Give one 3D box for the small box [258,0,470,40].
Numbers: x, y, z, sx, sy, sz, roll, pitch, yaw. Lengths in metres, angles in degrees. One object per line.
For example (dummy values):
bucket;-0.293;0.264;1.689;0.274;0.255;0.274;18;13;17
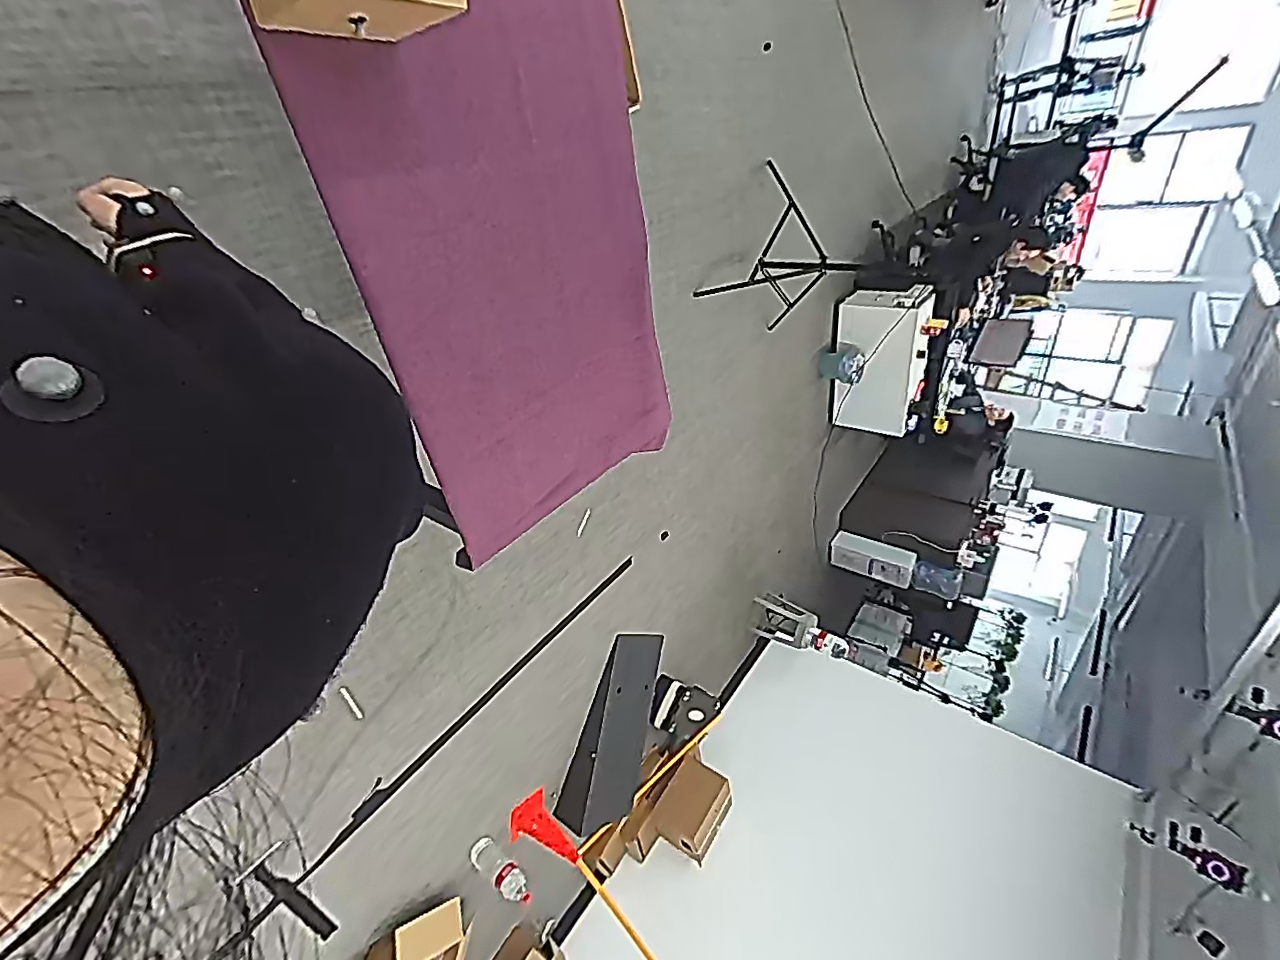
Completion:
small box;-0.311;-0.586;0.561;0.168;0.176;0.179;-35;130;-41
